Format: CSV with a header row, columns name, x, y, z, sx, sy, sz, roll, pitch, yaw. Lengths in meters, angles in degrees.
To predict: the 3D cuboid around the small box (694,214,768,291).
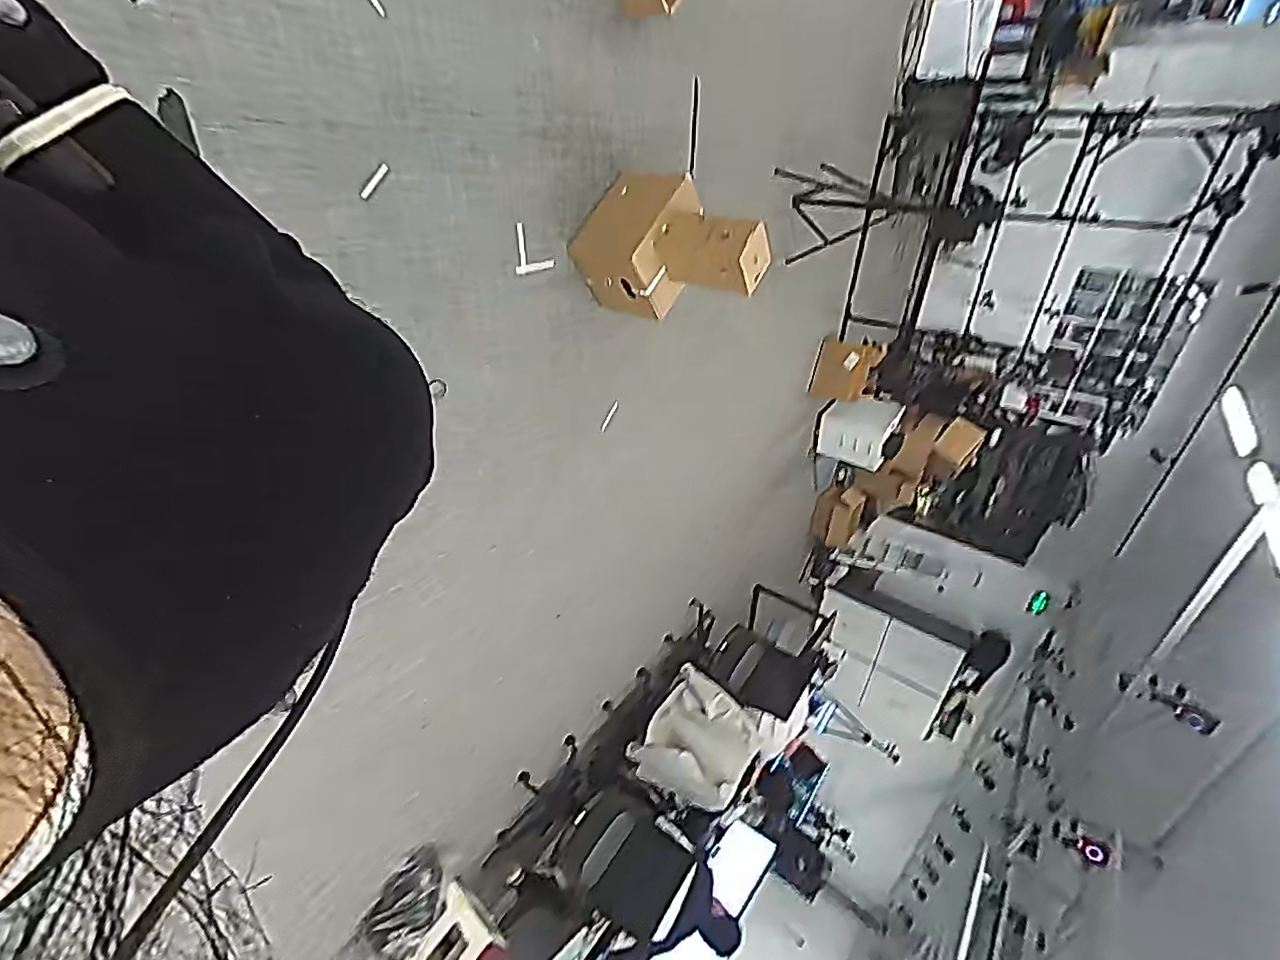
name,x,y,z,sx,sy,sz,roll,pitch,yaw
small box,0.305,-0.766,1.812,0.168,0.176,0.179,-59,147,-11
